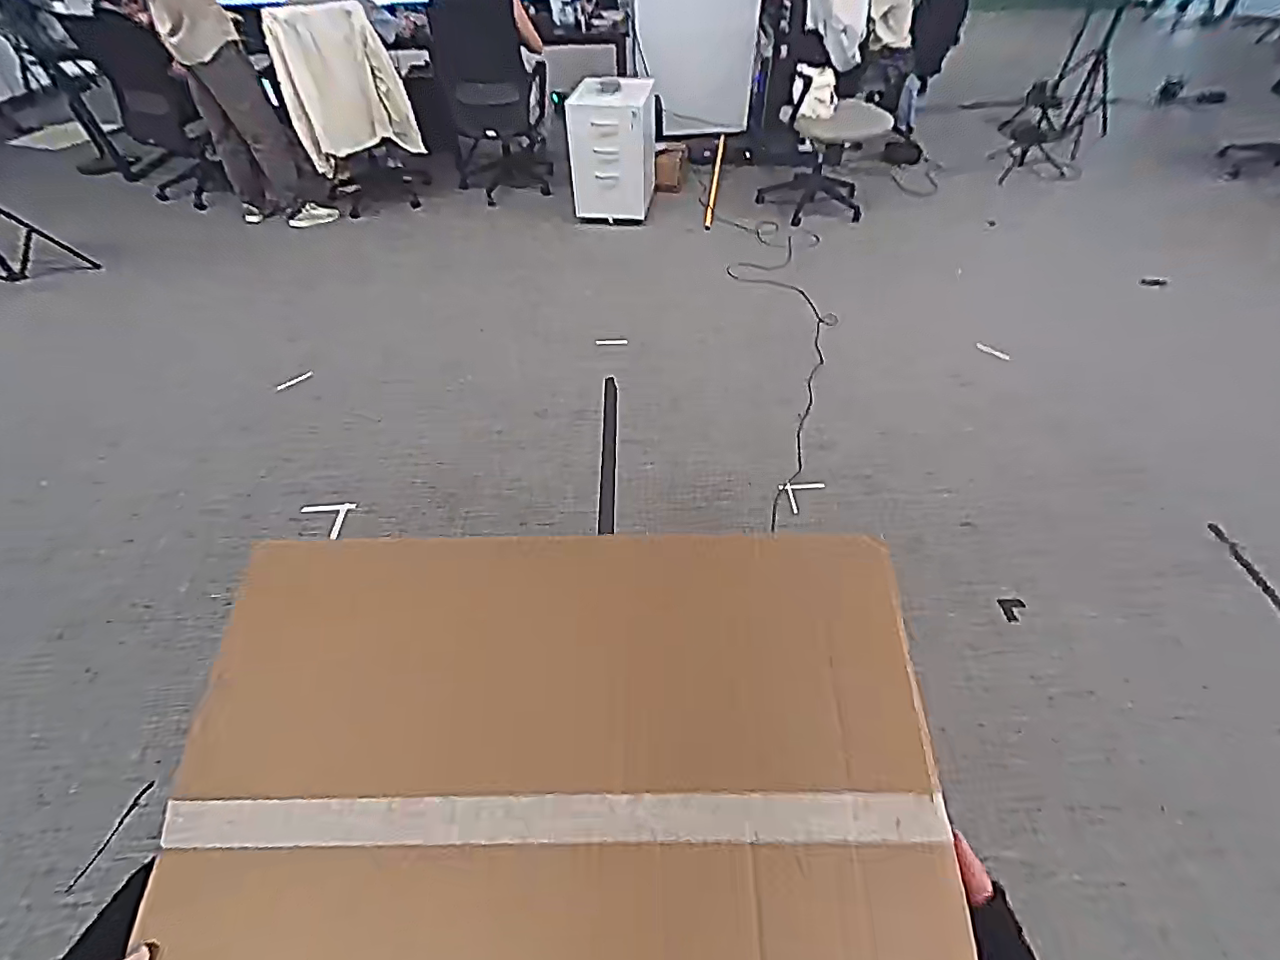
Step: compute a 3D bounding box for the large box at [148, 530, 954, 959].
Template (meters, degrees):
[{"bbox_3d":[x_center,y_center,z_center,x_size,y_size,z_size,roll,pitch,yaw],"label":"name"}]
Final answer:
[{"bbox_3d":[-0.044,0.241,0.428,0.408,0.320,0.320,-1,65,1],"label":"large box"}]
